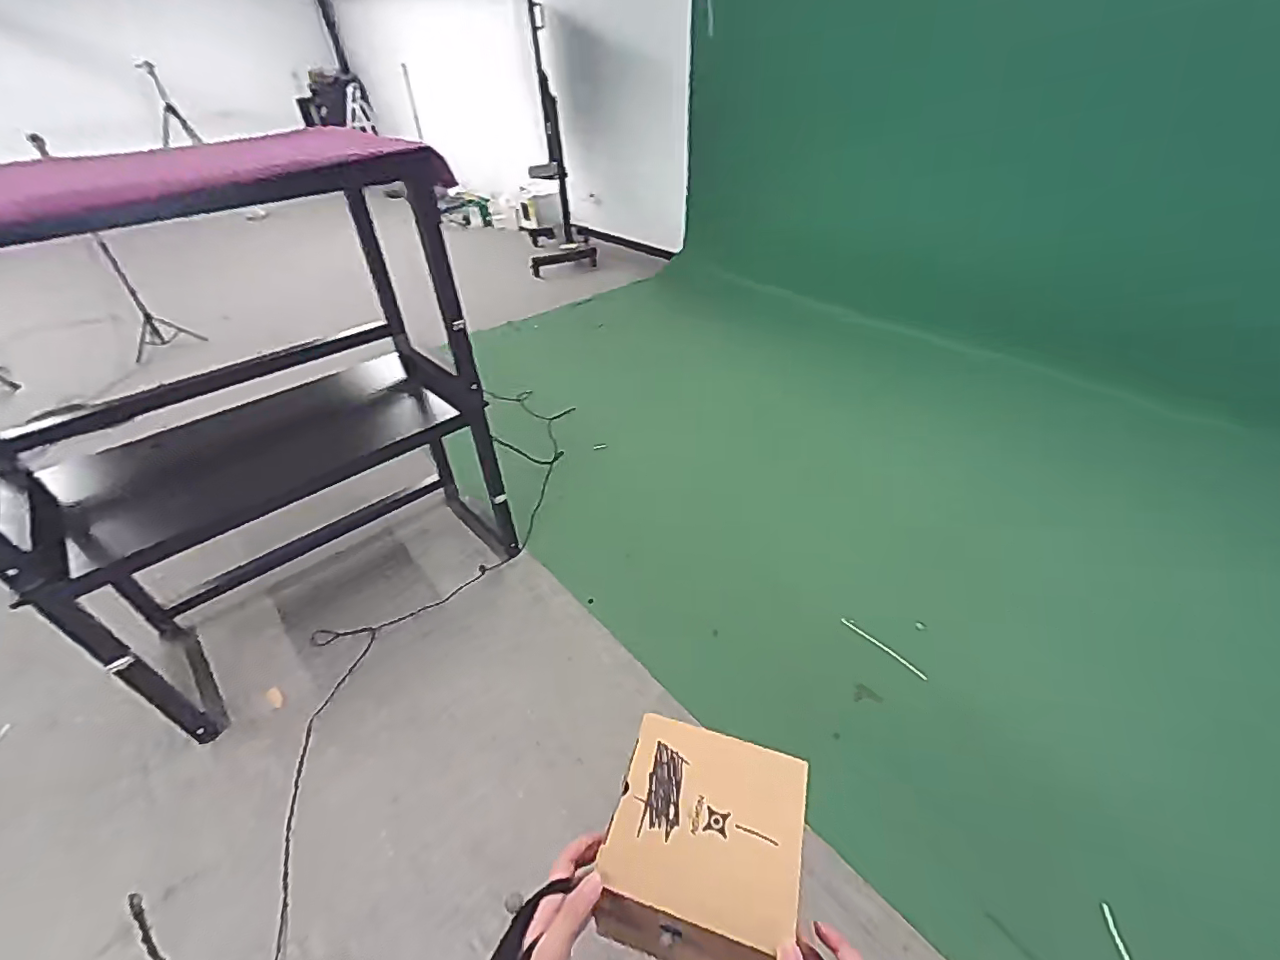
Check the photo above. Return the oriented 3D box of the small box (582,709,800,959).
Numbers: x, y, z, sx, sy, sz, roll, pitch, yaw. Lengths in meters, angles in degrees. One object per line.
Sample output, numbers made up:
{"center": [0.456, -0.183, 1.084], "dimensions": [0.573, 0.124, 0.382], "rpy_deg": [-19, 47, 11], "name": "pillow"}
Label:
{"center": [0.054, 0.374, 0.554], "dimensions": [0.179, 0.176, 0.168], "rpy_deg": [12, 39, 13], "name": "small box"}
